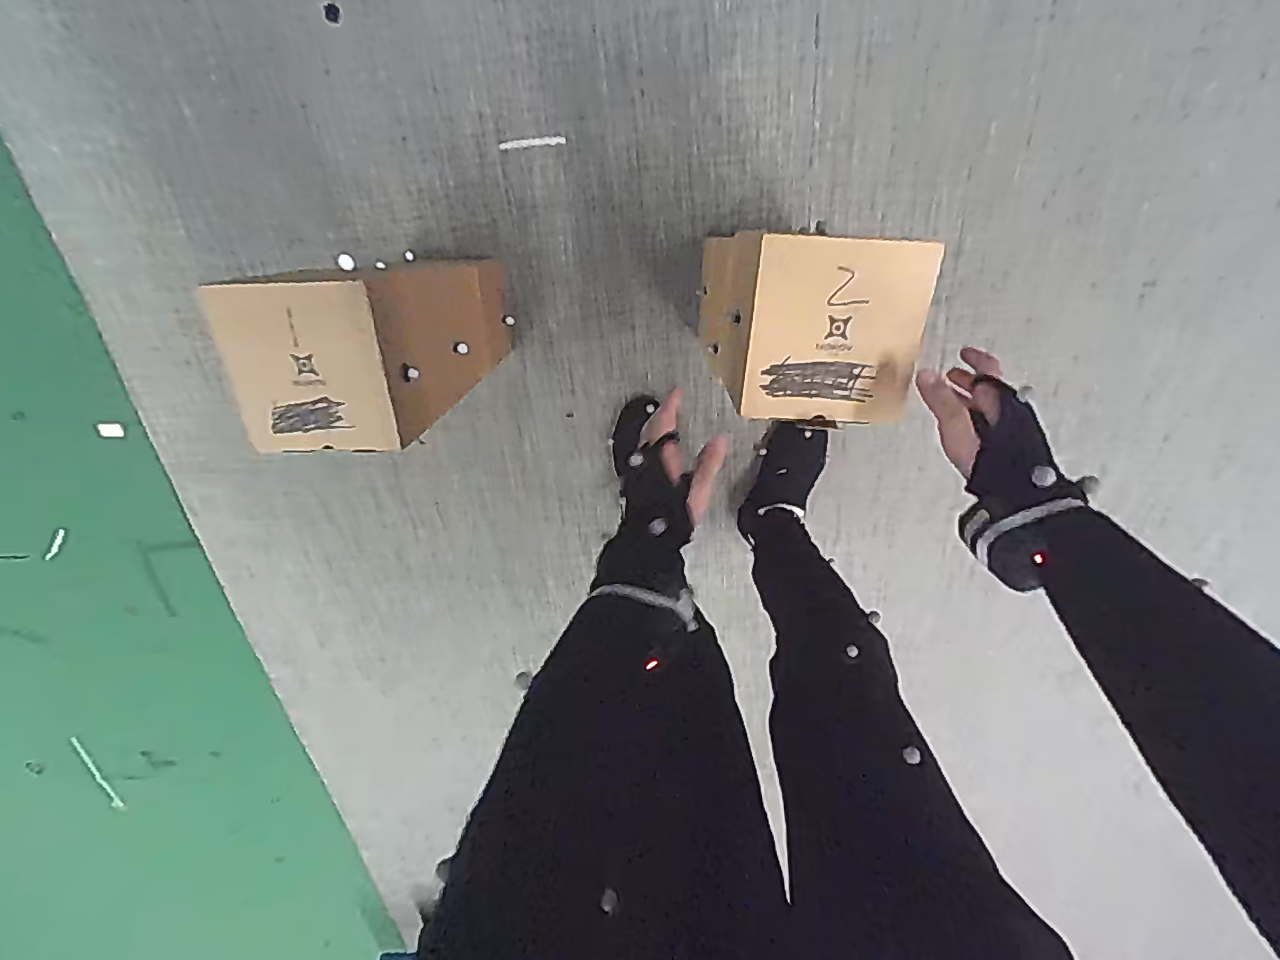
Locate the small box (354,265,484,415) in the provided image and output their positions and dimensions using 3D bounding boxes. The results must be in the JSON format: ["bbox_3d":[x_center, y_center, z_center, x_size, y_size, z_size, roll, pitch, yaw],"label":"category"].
[{"bbox_3d":[-0.333,-0.204,0.772,0.168,0.176,0.179,1,116,2],"label":"small box"}]

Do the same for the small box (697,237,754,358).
[{"bbox_3d":[0.187,-0.296,0.889,0.168,0.176,0.179,8,116,0],"label":"small box"}]

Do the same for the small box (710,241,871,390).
[{"bbox_3d":[0.190,-0.231,0.742,0.168,0.176,0.179,2,116,0],"label":"small box"}]

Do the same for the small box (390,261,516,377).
[{"bbox_3d":[-0.323,-0.277,0.918,0.179,0.176,0.168,1,116,1],"label":"small box"}]

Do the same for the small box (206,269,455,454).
[{"bbox_3d":[-0.328,-0.141,0.620,0.168,0.176,0.179,0,115,2],"label":"small box"}]
